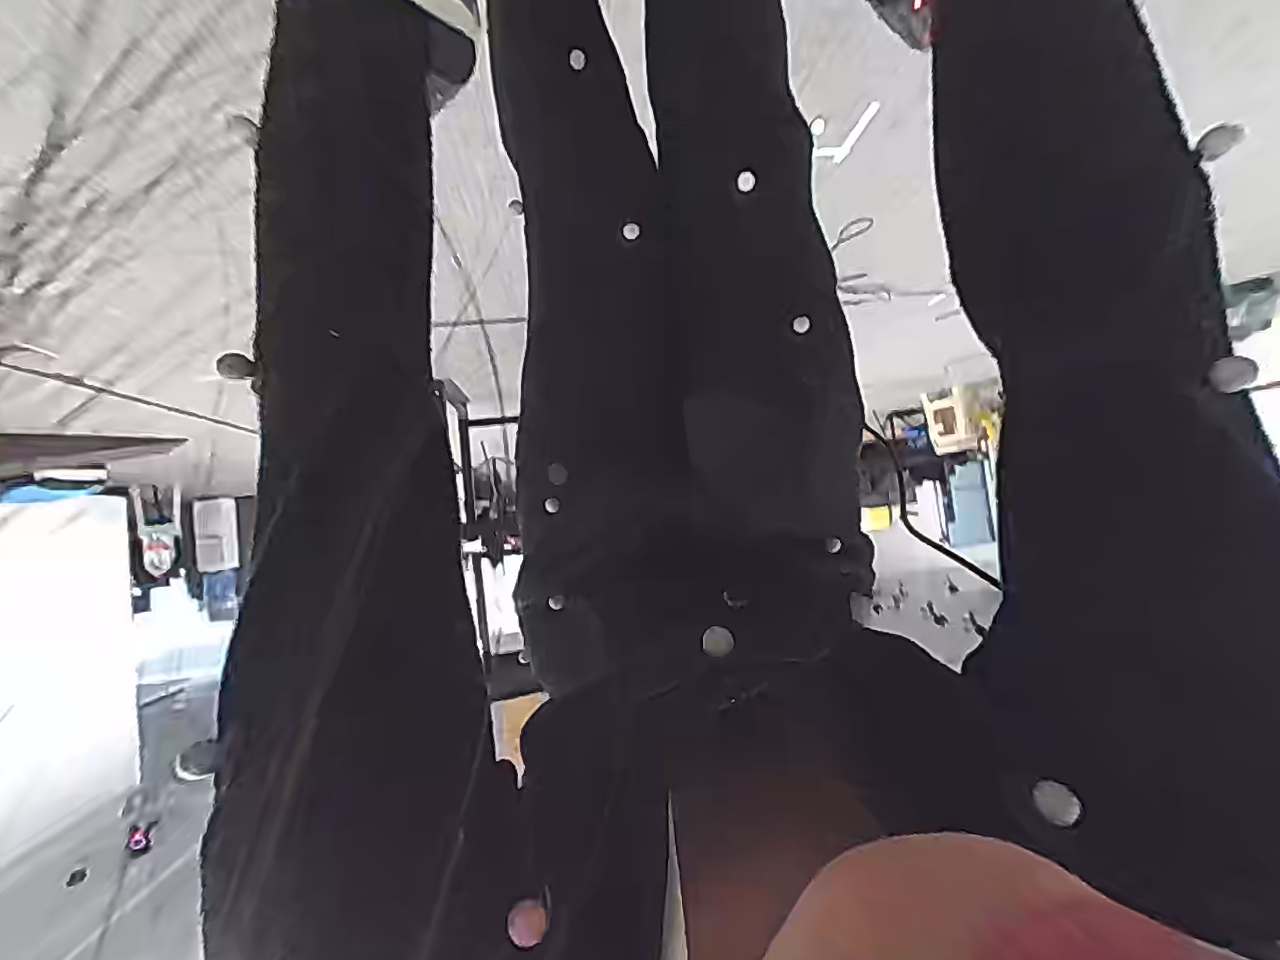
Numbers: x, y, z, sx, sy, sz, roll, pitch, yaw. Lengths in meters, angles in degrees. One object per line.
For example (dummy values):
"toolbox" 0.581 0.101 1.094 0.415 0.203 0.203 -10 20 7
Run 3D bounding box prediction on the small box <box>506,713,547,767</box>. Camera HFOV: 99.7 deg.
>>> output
"small box" -0.535 1.220 2.552 0.179 0.176 0.168 -7 179 -9
